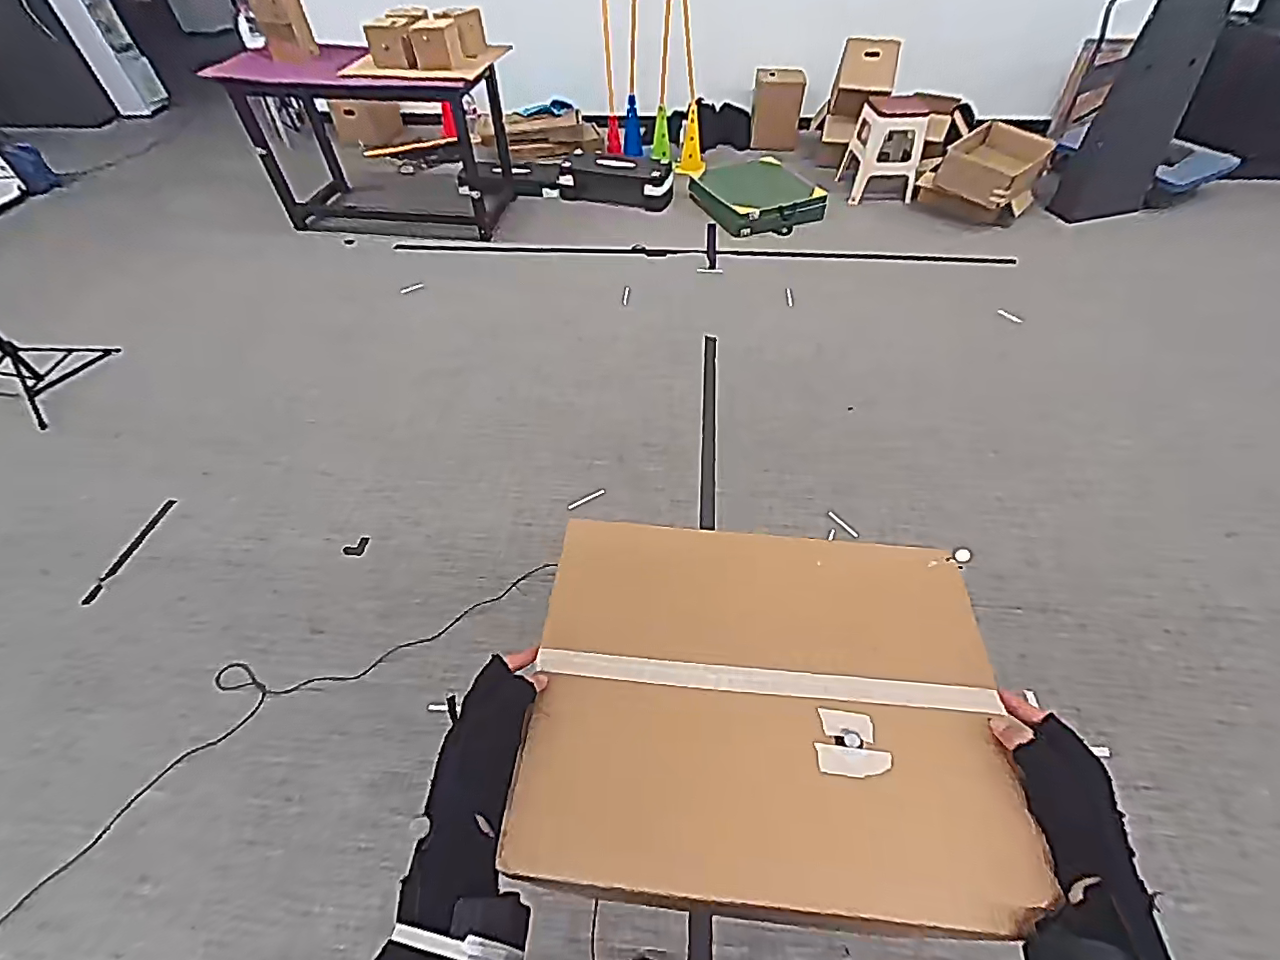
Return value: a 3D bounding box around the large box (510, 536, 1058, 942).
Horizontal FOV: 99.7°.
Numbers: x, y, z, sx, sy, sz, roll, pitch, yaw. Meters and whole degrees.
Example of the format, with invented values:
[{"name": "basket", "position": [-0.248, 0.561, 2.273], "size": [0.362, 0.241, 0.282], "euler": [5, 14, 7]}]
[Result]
[{"name": "large box", "position": [0.109, 0.285, 0.596], "size": [0.408, 0.320, 0.320], "euler": [5, 52, 3]}]
